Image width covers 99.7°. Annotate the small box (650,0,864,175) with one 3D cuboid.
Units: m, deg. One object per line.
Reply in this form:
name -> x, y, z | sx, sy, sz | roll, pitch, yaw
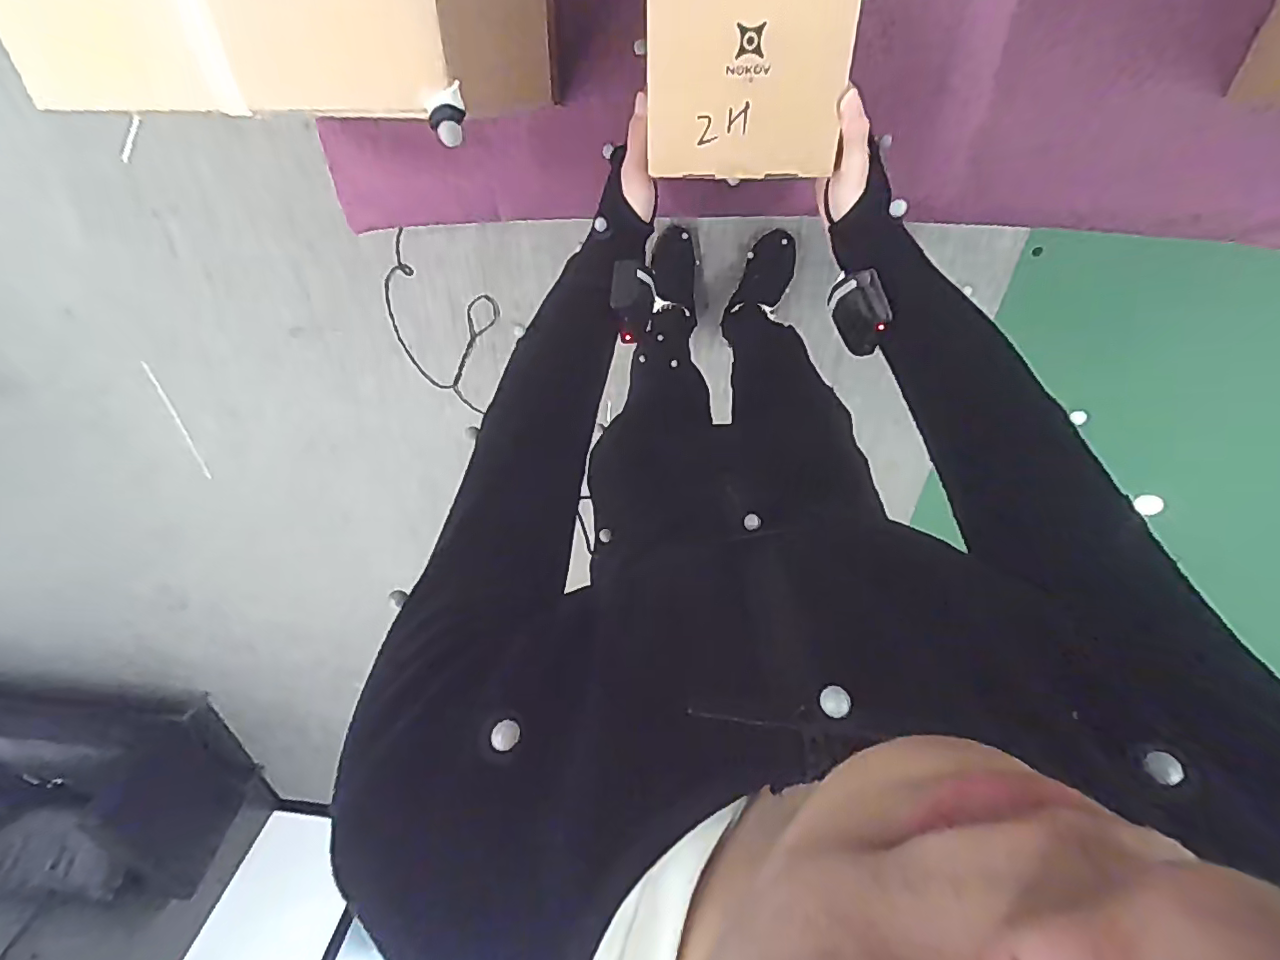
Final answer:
small box -> 0.098, -0.387, 0.496 | 0.168, 0.176, 0.179 | 3, 125, 7
